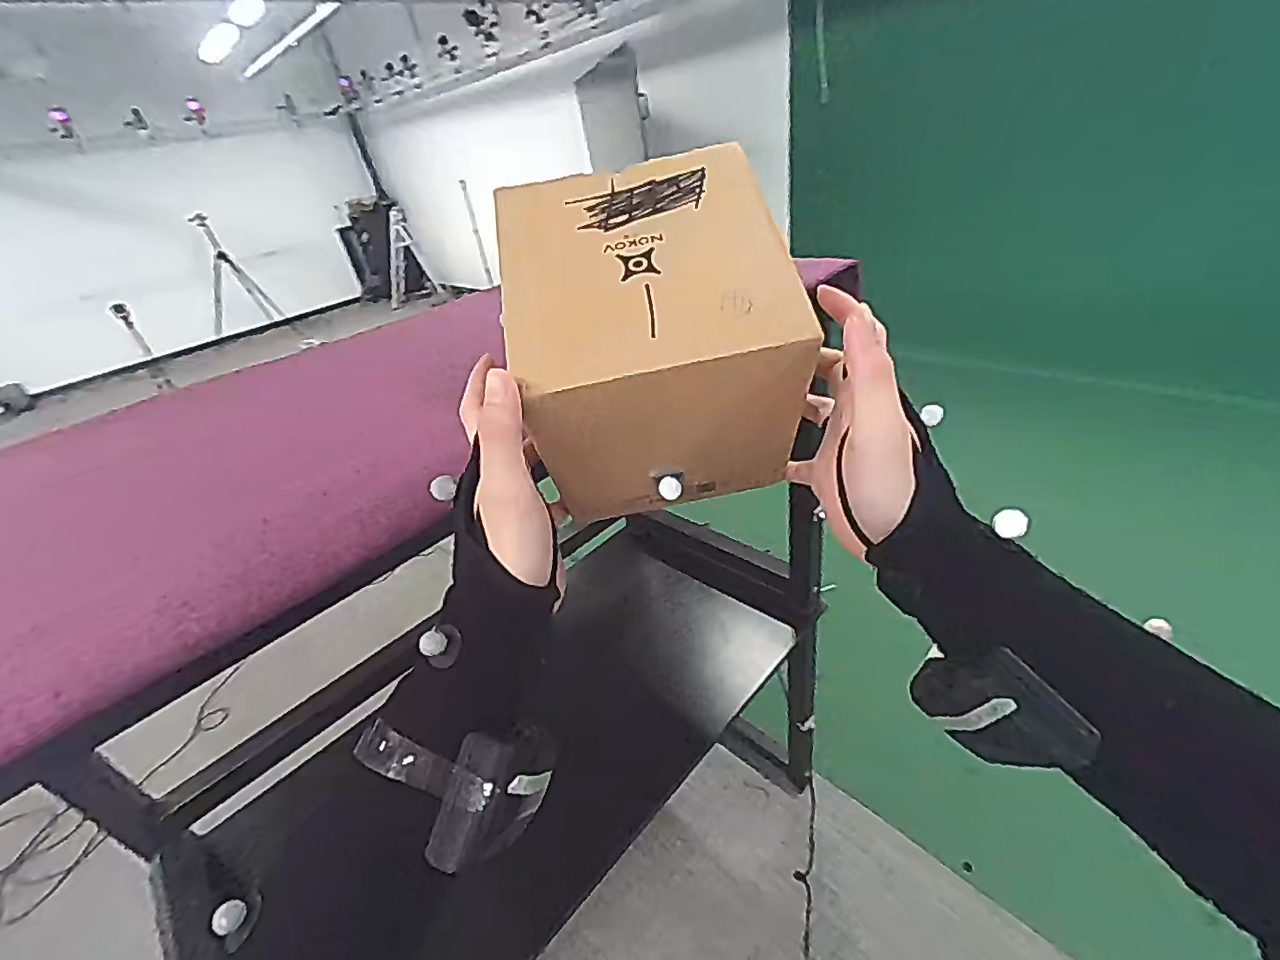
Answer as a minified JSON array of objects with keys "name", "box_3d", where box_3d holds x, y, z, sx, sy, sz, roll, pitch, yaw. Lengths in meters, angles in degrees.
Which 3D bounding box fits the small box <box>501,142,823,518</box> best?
[{"name":"small box","box_3d":[0.008,-0.094,0.382,0.168,0.176,0.179,-11,62,1]}]
